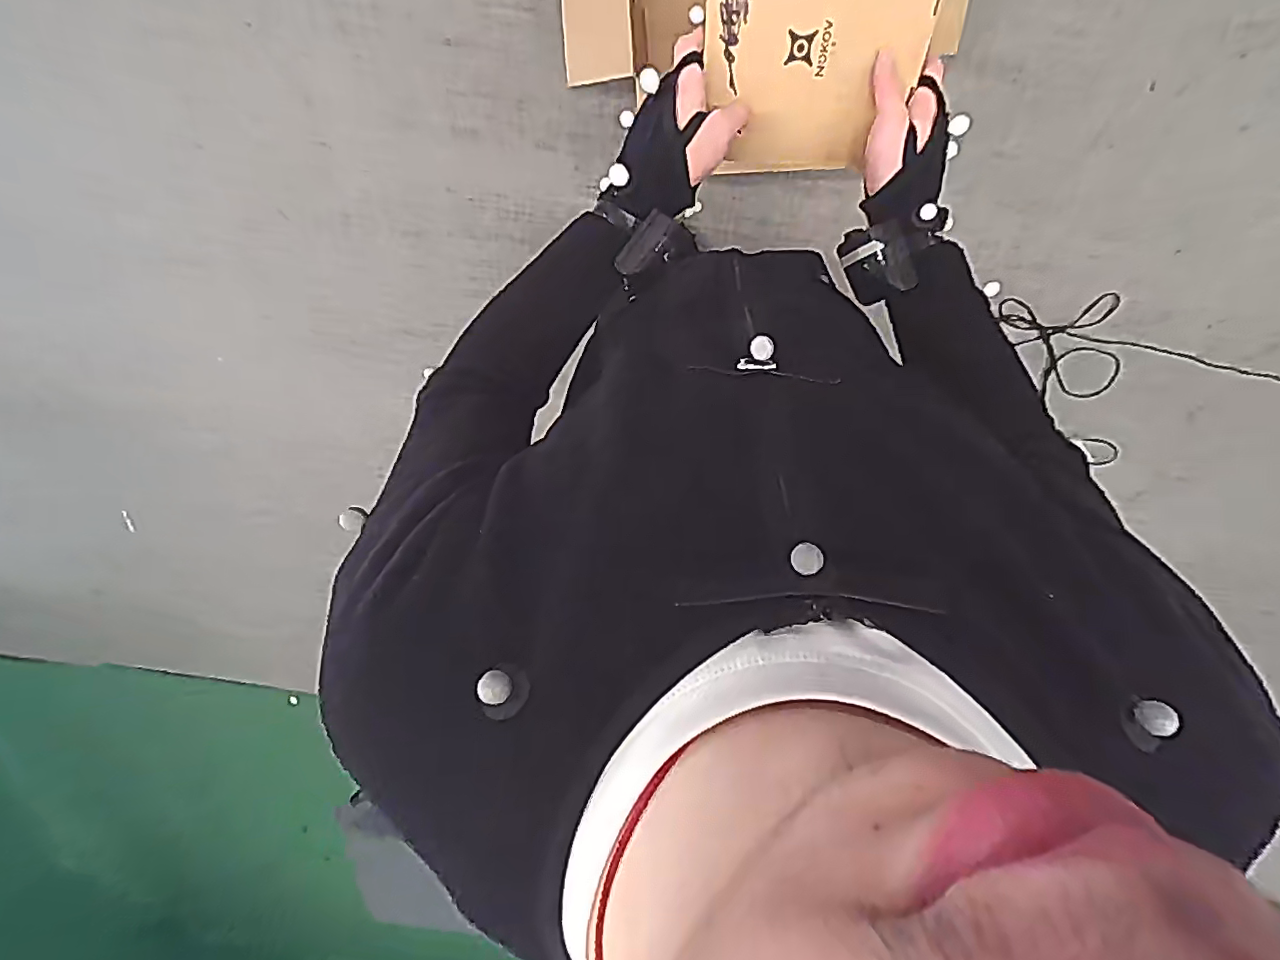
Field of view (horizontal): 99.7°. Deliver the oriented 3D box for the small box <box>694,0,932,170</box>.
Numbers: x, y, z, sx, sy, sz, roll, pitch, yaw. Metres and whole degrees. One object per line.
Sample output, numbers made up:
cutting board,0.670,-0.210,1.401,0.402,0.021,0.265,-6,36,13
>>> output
small box,0.148,-0.404,0.497,0.179,0.176,0.168,6,135,7
